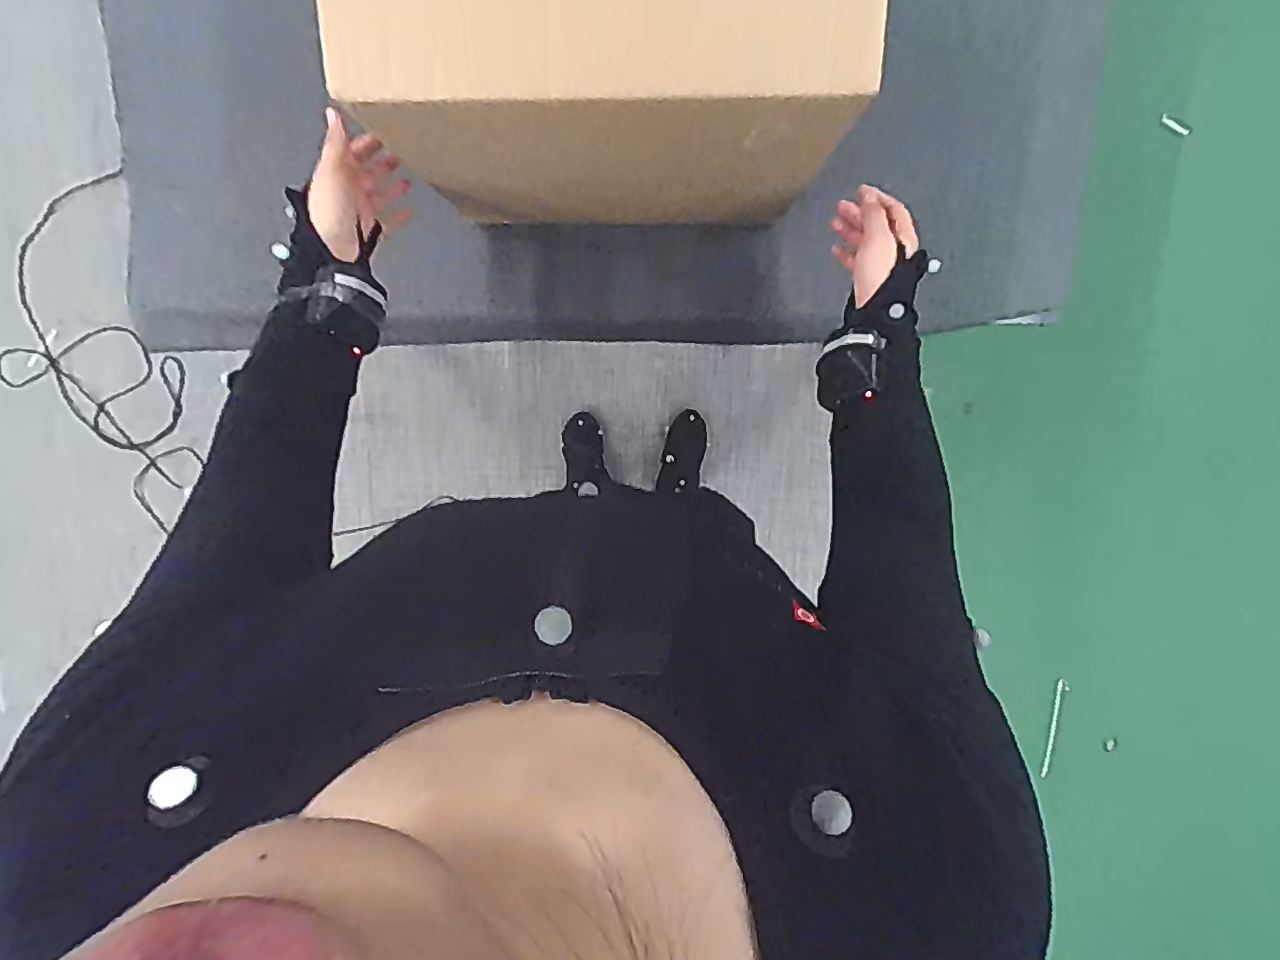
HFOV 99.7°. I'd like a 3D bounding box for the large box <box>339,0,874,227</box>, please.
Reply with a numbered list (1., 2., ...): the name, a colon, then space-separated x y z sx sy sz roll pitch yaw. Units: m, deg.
1. large box: -0.026 -0.460 0.533 0.408 0.320 0.320 0 100 1
